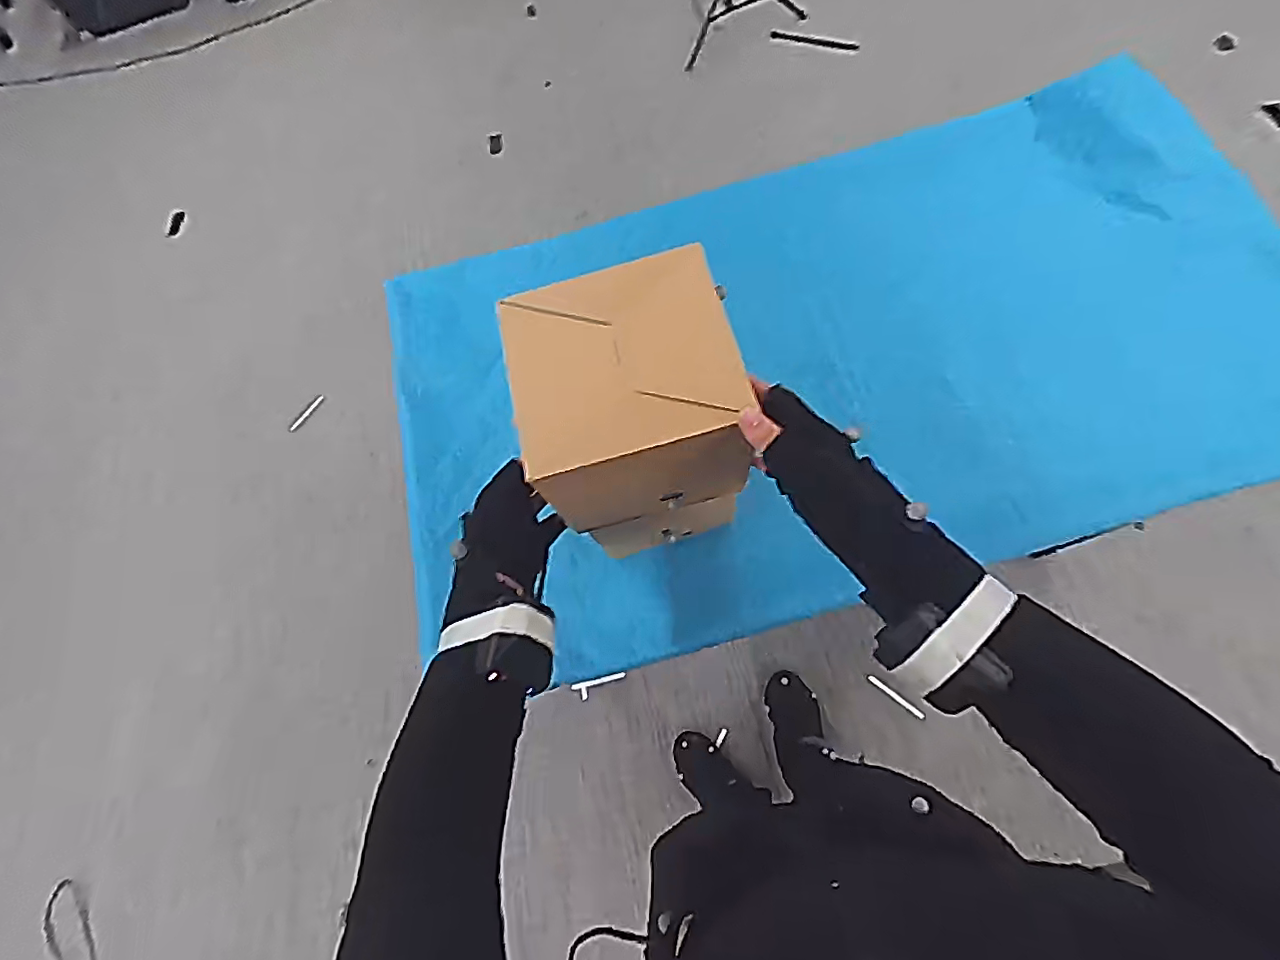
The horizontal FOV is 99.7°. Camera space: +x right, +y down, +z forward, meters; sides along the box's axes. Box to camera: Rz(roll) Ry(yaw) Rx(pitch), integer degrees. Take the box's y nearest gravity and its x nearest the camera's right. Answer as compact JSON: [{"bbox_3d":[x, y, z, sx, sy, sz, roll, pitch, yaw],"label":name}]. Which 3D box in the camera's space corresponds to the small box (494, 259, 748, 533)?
[{"bbox_3d":[-0.009,-0.068,0.489,0.179,0.176,0.168,-16,70,2],"label":"small box"}]

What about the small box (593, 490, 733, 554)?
[{"bbox_3d":[0.007,-0.024,0.649,0.168,0.176,0.179,-15,72,4],"label":"small box"}]
